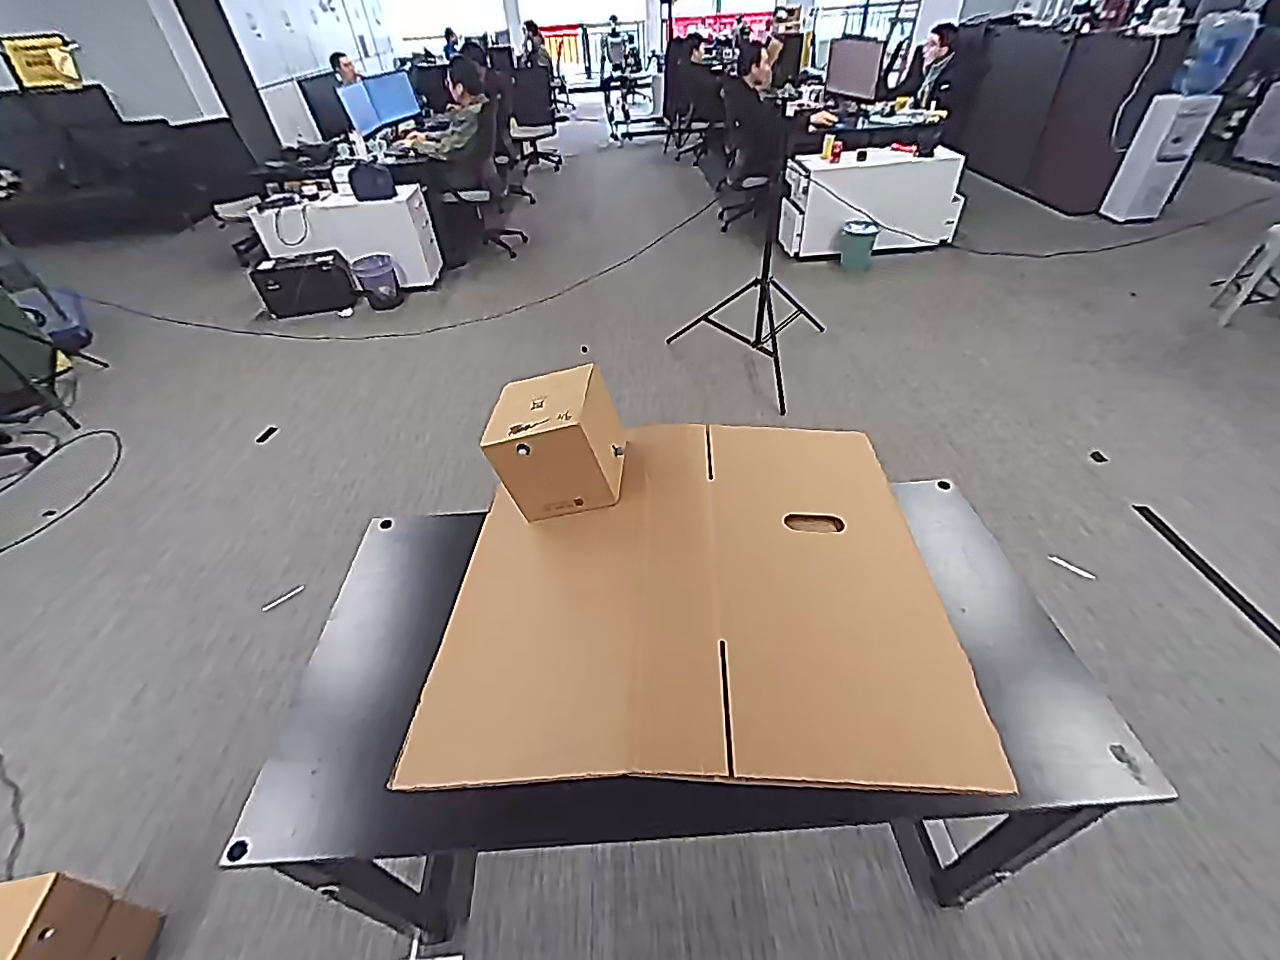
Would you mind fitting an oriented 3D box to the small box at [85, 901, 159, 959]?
[{"bbox_3d":[-1.158,1.008,1.117,0.168,0.176,0.179,-7,42,-3],"label":"small box"}]

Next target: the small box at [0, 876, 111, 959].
[{"bbox_3d":[-1.169,0.883,1.014,0.168,0.176,0.179,-8,41,-6],"label":"small box"}]

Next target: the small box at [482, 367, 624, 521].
[{"bbox_3d":[-0.131,-0.058,0.901,0.168,0.176,0.179,-12,39,14],"label":"small box"}]
